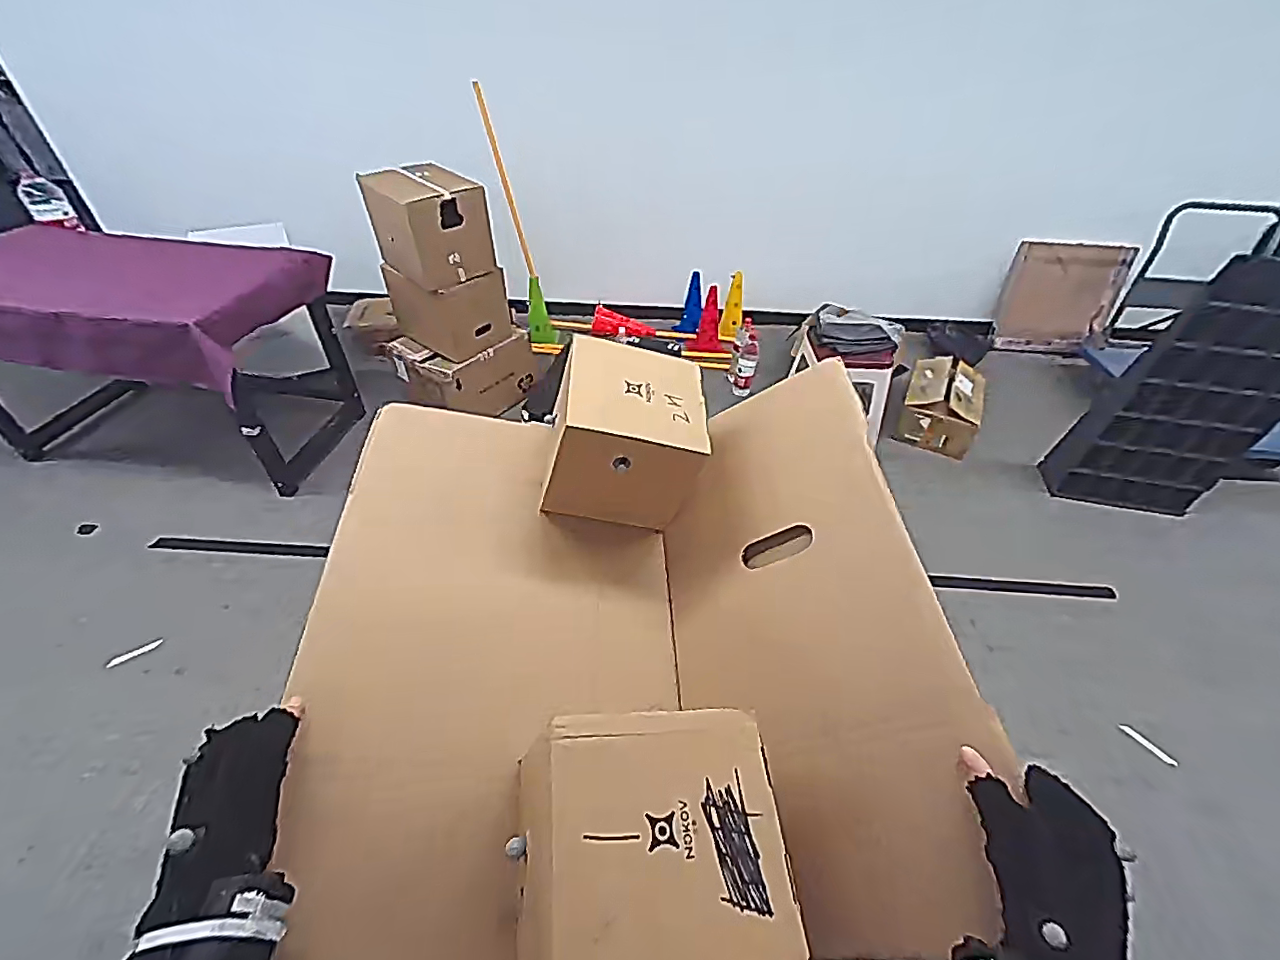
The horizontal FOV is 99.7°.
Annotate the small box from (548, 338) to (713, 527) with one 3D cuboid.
[{"bbox_3d":[-0.019,-0.055,0.723,0.179,0.176,0.168,12,50,-14],"label":"small box"}]
